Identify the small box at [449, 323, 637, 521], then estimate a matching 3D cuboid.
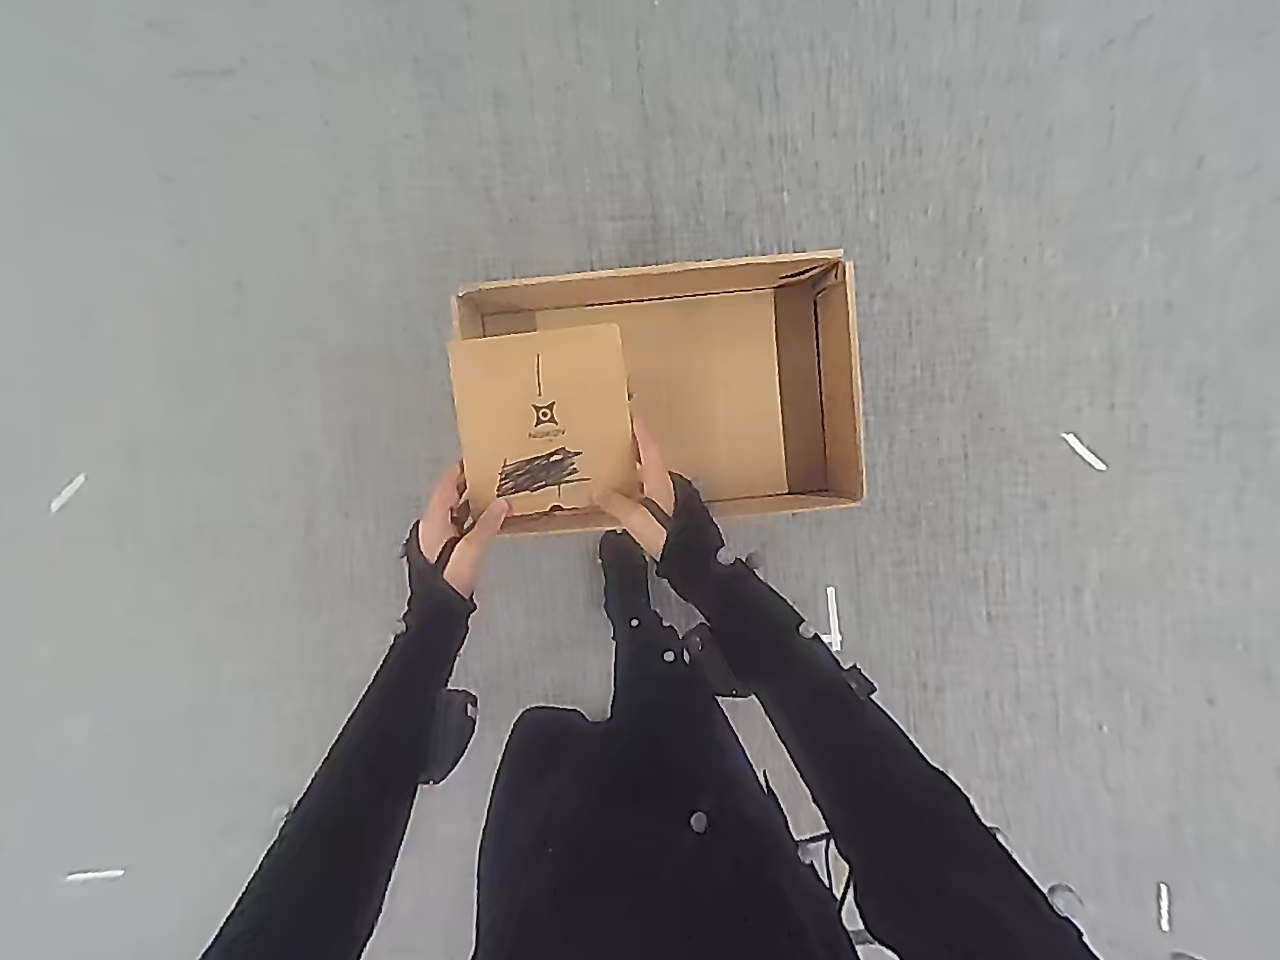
[{"bbox_3d":[-0.092,-0.060,0.598,0.168,0.176,0.179,-7,93,-1],"label":"small box"}]
